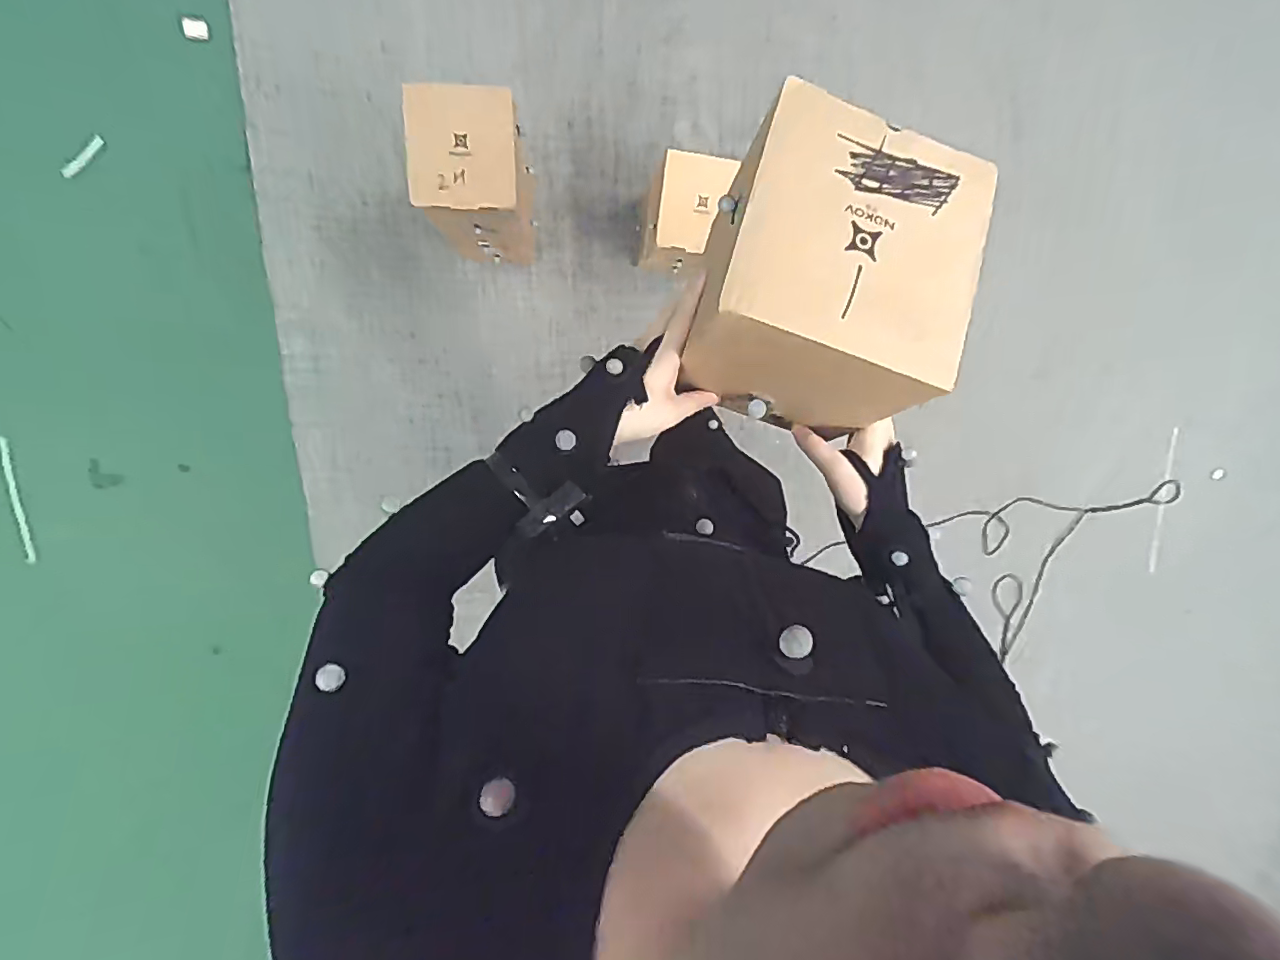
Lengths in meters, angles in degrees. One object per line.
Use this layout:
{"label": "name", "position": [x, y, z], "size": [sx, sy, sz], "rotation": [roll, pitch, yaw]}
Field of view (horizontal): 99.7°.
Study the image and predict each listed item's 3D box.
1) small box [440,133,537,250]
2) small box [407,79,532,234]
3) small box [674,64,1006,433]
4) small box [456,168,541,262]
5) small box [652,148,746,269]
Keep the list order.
{"label": "small box", "position": [-0.294, -0.566, 1.066], "size": [0.168, 0.176, 0.179], "rotation": [-1, 103, -5]}
{"label": "small box", "position": [-0.275, -0.529, 0.907], "size": [0.168, 0.176, 0.179], "rotation": [0, 102, -4]}
{"label": "small box", "position": [0.137, -0.156, 0.424], "size": [0.168, 0.176, 0.179], "rotation": [18, 81, -6]}
{"label": "small box", "position": [-0.314, -0.601, 1.224], "size": [0.168, 0.176, 0.179], "rotation": [2, 102, -7]}
{"label": "small box", "position": [0.121, -0.546, 1.115], "size": [0.168, 0.176, 0.179], "rotation": [6, 102, -7]}
